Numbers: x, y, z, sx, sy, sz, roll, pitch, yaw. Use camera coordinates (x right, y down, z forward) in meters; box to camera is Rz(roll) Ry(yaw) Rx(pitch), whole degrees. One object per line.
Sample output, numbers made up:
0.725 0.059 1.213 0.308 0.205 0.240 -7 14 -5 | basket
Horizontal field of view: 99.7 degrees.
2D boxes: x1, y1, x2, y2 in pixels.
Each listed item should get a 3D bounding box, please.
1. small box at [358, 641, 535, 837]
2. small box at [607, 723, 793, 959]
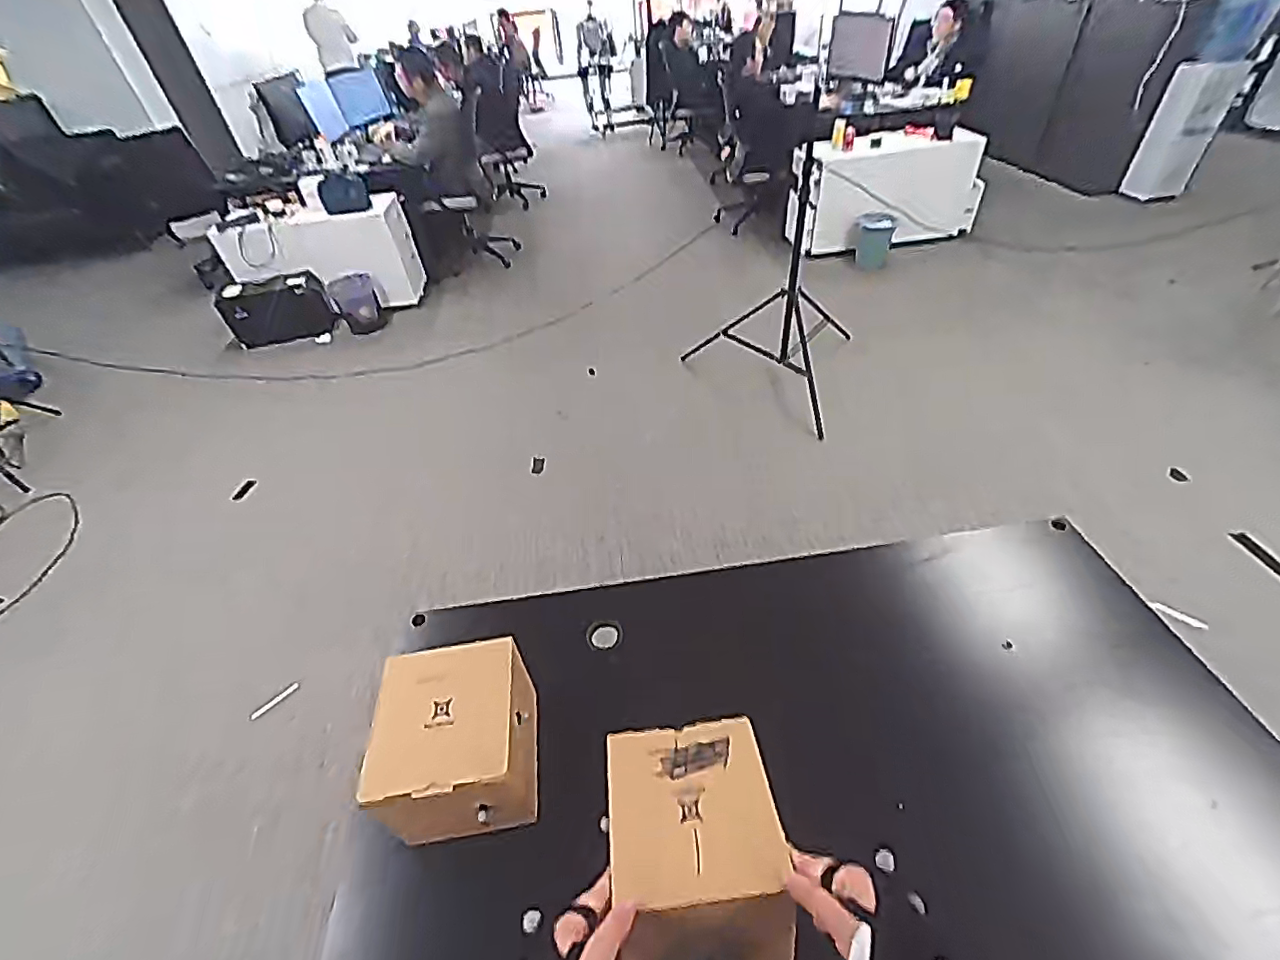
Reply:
-0.234 0.341 0.705 0.168 0.176 0.179 -8 42 -5 | small box
0.055 0.399 0.583 0.168 0.176 0.179 -7 29 -1 | small box
